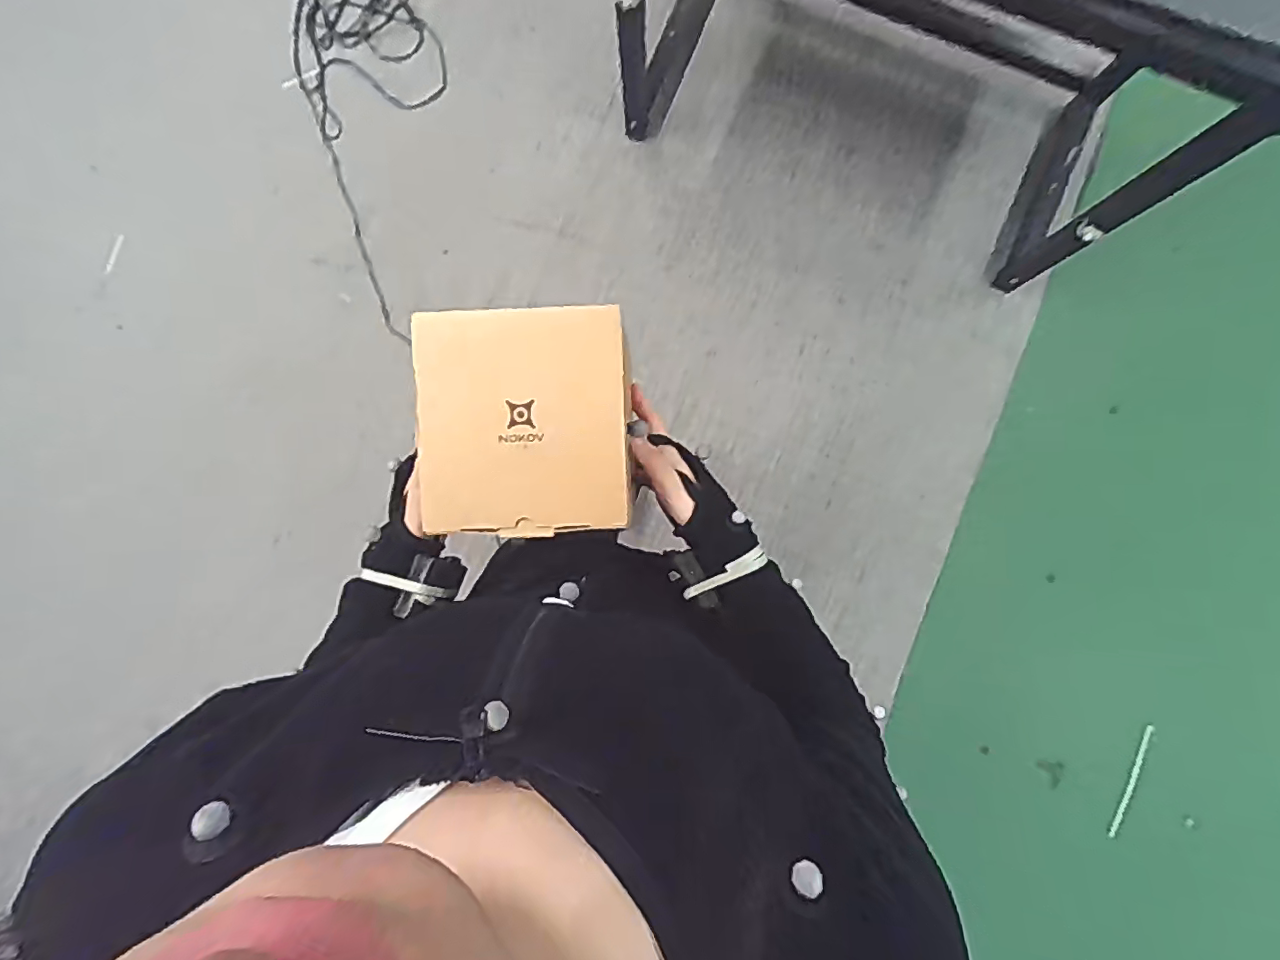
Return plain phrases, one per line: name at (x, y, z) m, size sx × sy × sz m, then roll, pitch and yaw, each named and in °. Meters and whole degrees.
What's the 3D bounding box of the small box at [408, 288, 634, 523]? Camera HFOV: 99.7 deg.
small box at (-0.091, -0.057, 0.487) m, size 0.168 × 0.176 × 0.179 m, roll -2°, pitch 92°, yaw 1°
